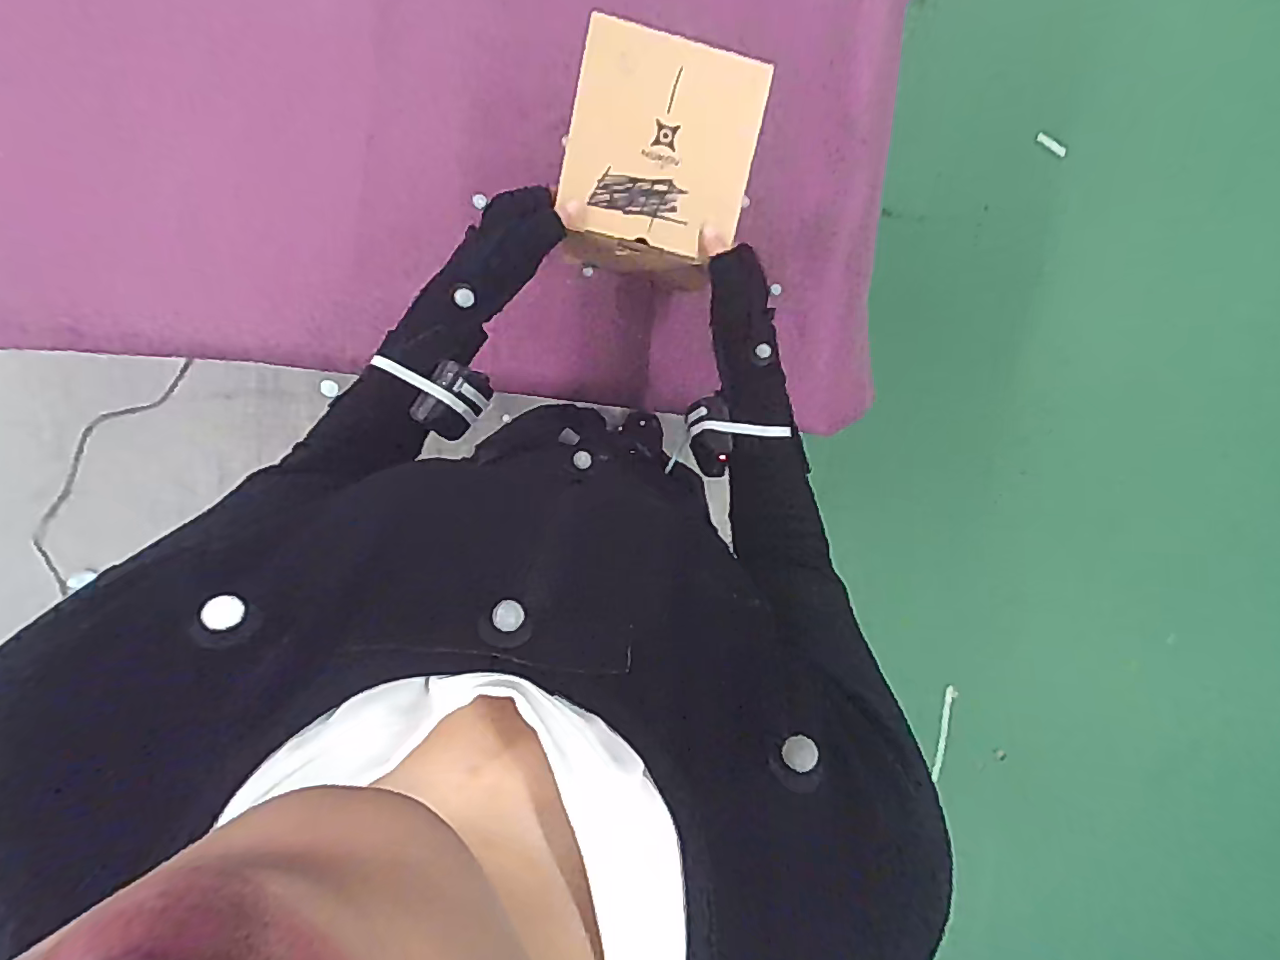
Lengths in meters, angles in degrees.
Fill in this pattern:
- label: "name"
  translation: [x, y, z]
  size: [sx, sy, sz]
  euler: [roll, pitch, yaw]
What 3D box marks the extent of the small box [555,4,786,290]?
- label: "small box"
  translation: [0.019, -0.307, 0.548]
  size: [0.168, 0.176, 0.179]
  euler: [15, 101, -9]
